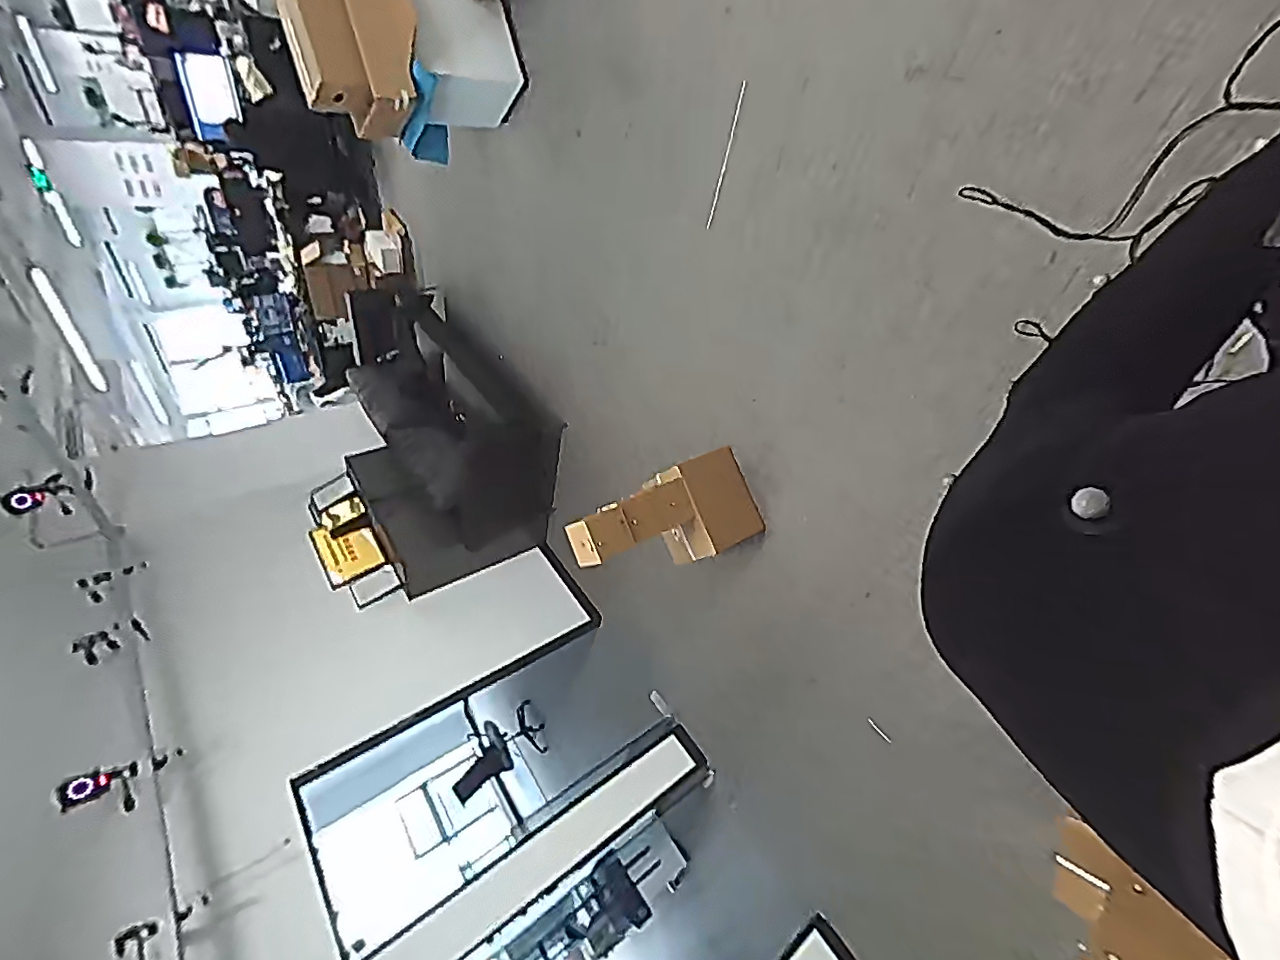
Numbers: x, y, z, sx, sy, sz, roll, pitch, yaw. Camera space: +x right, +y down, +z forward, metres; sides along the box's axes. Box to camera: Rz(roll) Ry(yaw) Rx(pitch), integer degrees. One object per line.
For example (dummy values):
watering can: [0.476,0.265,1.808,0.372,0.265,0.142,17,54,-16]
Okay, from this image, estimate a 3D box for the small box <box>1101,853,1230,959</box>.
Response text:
small box: [1.161,0.982,1.204,0.179,0.176,0.168,14,119,51]

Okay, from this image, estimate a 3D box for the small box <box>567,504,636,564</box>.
small box: [-0.145,0.204,2.040,0.179,0.176,0.168,-21,92,57]

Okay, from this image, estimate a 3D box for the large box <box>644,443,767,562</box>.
large box: [0.288,0.099,2.410,0.320,0.320,0.408,-31,83,58]

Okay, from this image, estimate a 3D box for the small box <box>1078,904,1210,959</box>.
small box: [1.032,1.031,1.114,0.179,0.176,0.168,18,123,50]

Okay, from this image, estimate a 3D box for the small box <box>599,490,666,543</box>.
small box: [-0.029,0.149,2.143,0.168,0.176,0.179,-24,90,56]
